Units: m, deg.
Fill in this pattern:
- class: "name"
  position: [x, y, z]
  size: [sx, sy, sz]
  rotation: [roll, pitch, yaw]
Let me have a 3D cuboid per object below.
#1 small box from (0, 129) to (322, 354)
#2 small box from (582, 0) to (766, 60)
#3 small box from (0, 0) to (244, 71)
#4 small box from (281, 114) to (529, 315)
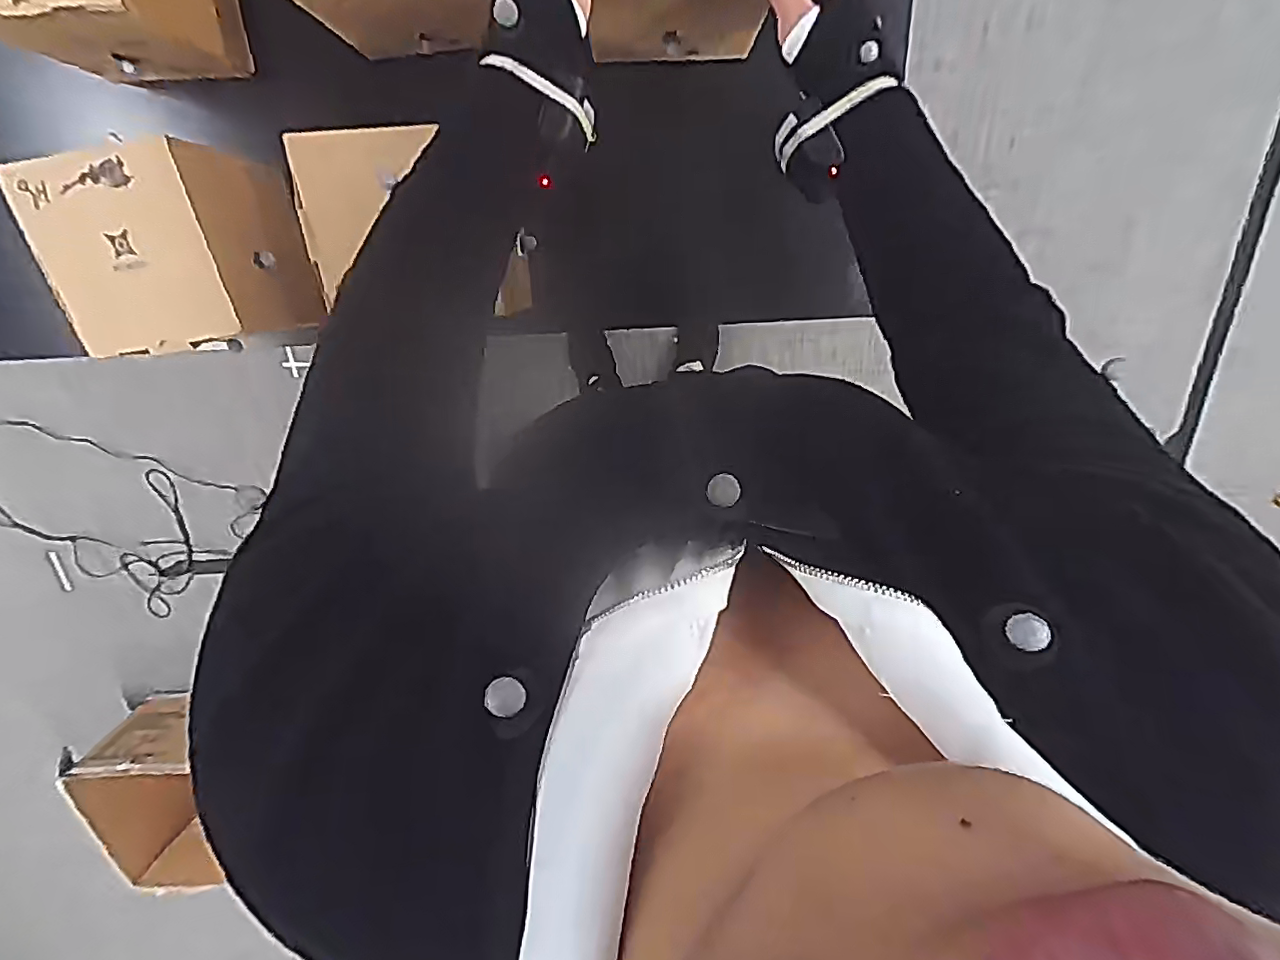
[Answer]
- class: "small box"
  position: [-0.484, -0.247, 0.580]
  size: [0.168, 0.176, 0.179]
  rotation: [-8, 111, 3]
- class: "small box"
  position: [0.027, -0.507, 0.471]
  size: [0.168, 0.176, 0.179]
  rotation: [-2, 108, 0]
- class: "small box"
  position: [-0.506, -0.498, 0.482]
  size: [0.168, 0.176, 0.179]
  rotation: [-2, 112, 0]
- class: "small box"
  position: [-0.227, -0.268, 0.575]
  size: [0.179, 0.176, 0.168]
  rotation: [-3, 111, 0]
